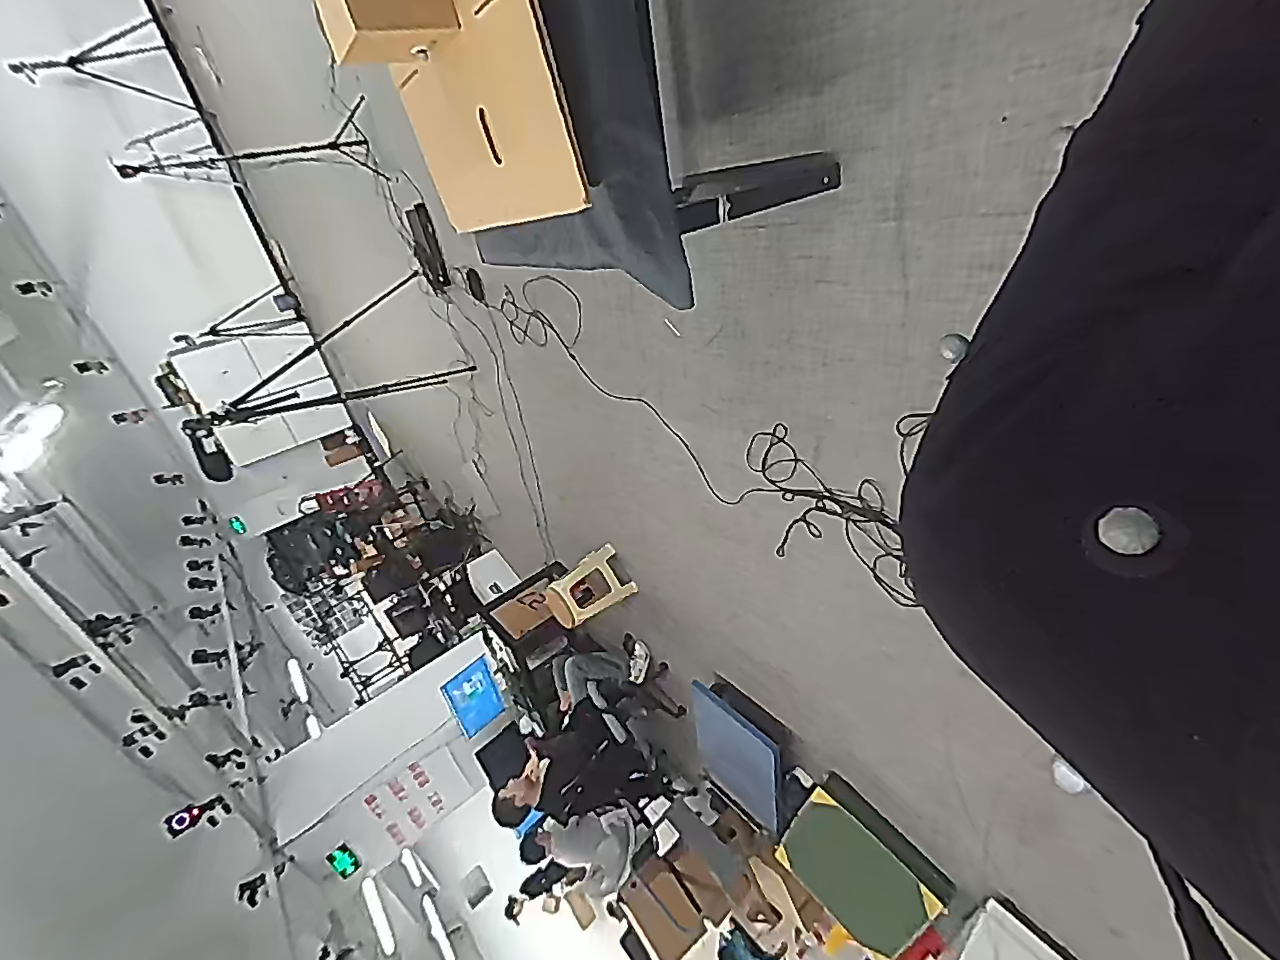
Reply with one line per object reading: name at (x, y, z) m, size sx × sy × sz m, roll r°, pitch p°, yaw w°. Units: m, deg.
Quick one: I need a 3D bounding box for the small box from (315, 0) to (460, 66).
small box at (-0.414, -0.790, 0.859) m, size 0.168 × 0.176 × 0.179 m, roll 24°, pitch 135°, yaw 50°
